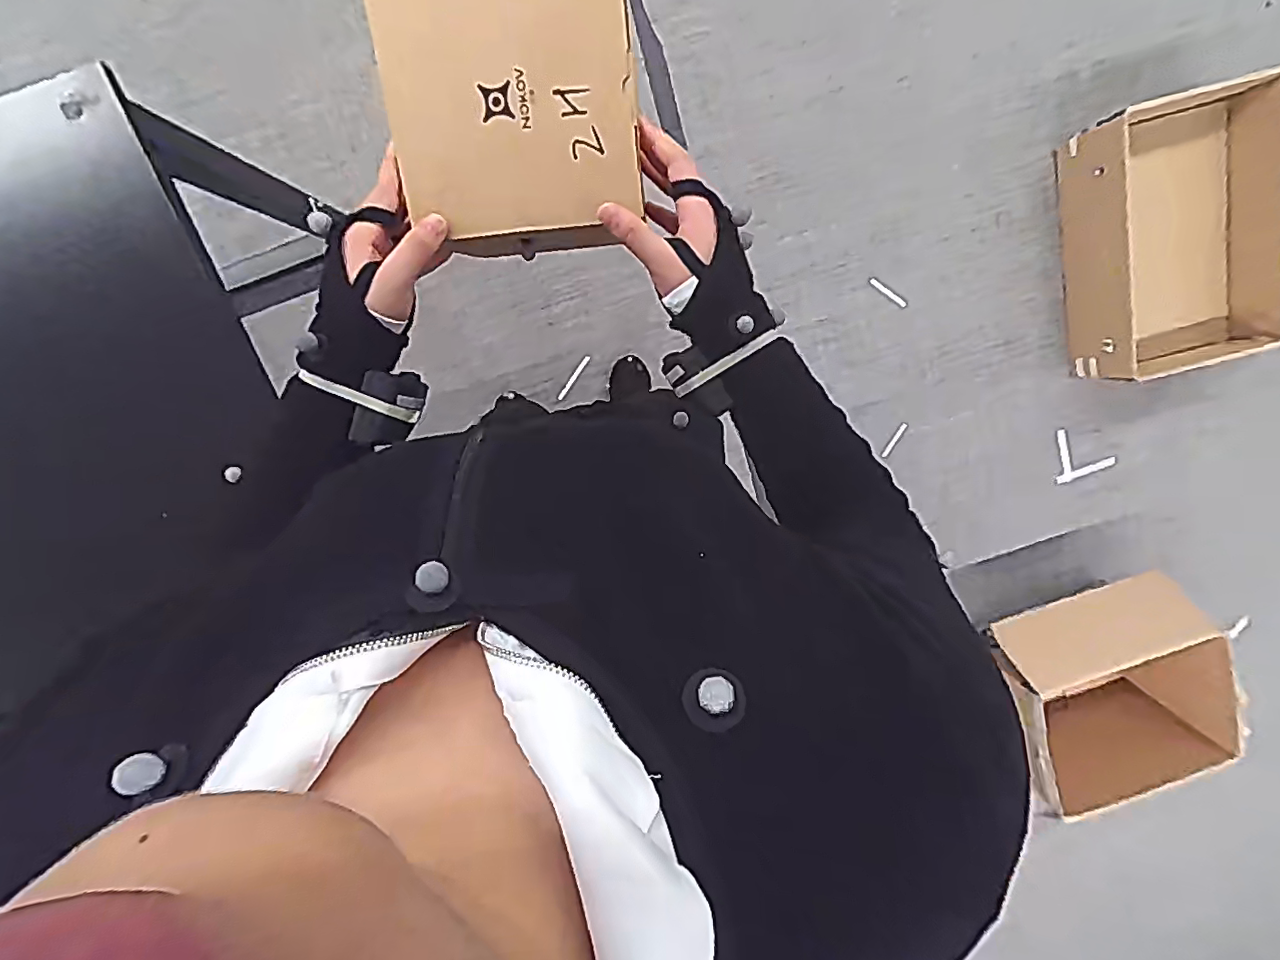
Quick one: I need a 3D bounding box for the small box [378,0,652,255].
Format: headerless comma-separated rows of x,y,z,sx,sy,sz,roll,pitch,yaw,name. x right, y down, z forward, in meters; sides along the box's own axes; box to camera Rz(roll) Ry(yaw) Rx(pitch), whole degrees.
-0.083,-0.290,0.457,0.179,0.176,0.168,-4,109,3,small box
